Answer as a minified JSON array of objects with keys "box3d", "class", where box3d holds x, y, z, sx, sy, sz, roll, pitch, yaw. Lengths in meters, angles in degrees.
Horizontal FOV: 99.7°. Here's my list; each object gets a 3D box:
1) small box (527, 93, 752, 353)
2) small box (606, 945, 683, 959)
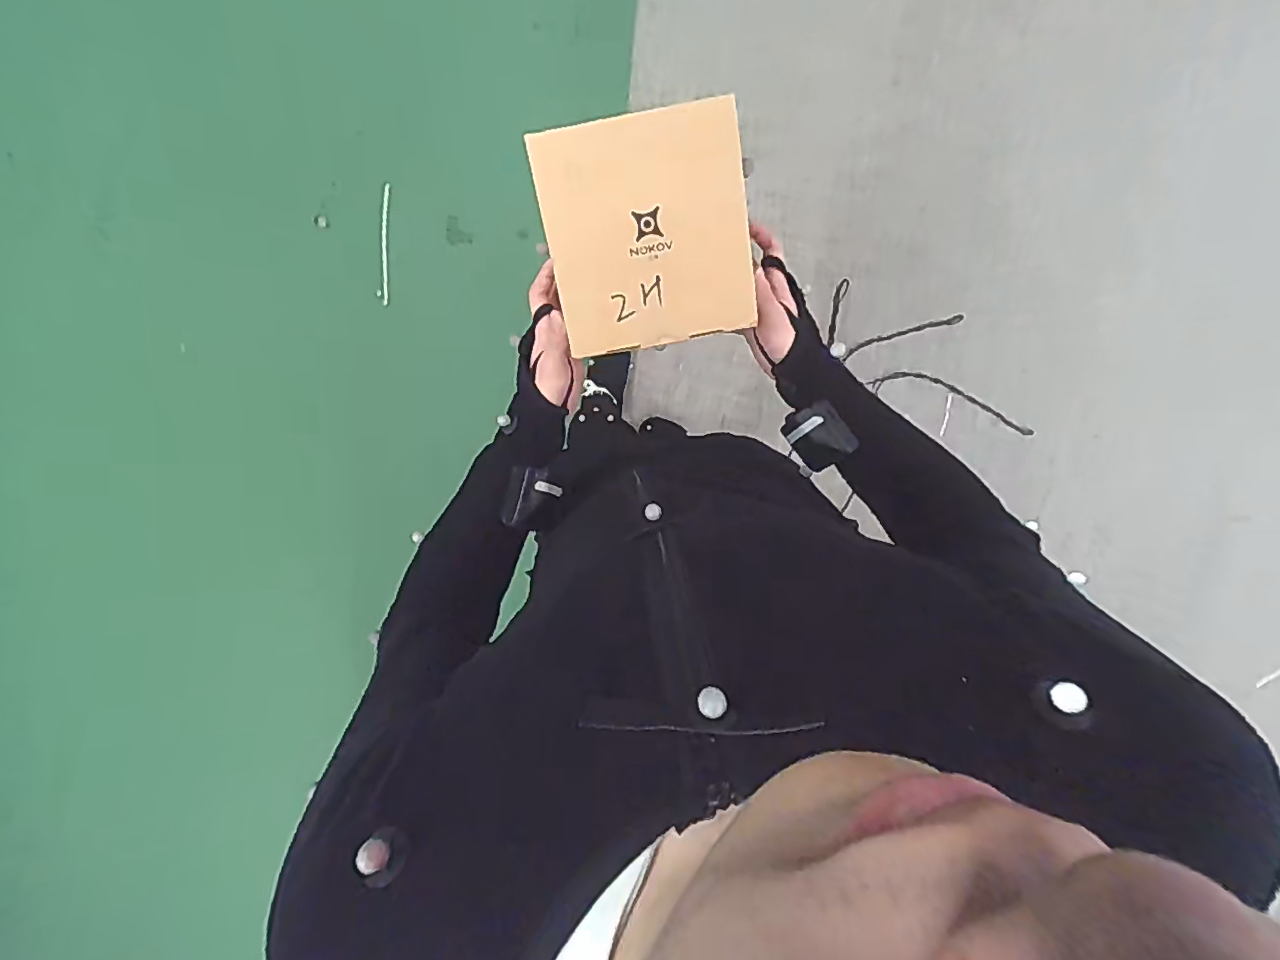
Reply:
[{"box3d":[0.003,-0.226,0.514,0.168,0.176,0.179,-9,108,3],"class":"small box"},{"box3d":[0.004,1.040,1.020,0.168,0.176,0.179,6,102,0],"class":"small box"}]
